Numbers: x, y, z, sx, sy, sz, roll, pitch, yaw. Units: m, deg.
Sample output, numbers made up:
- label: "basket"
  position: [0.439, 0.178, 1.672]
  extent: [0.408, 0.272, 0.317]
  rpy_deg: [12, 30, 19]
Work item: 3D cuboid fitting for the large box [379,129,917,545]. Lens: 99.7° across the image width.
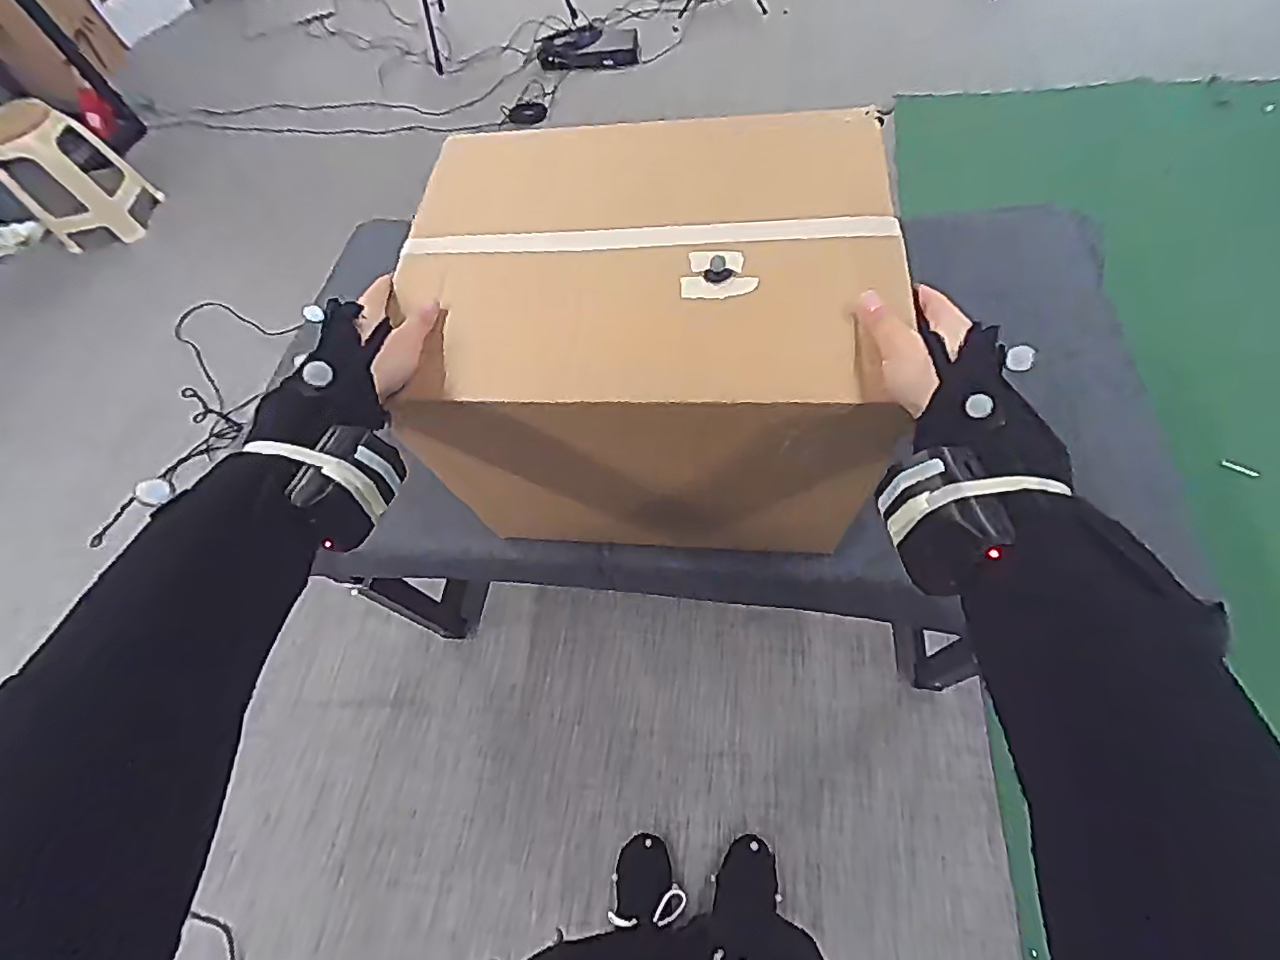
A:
- label: "large box"
  position: [0.017, -0.124, 0.589]
  extent: [0.408, 0.320, 0.320]
  rpy_deg: [1, 65, 7]
